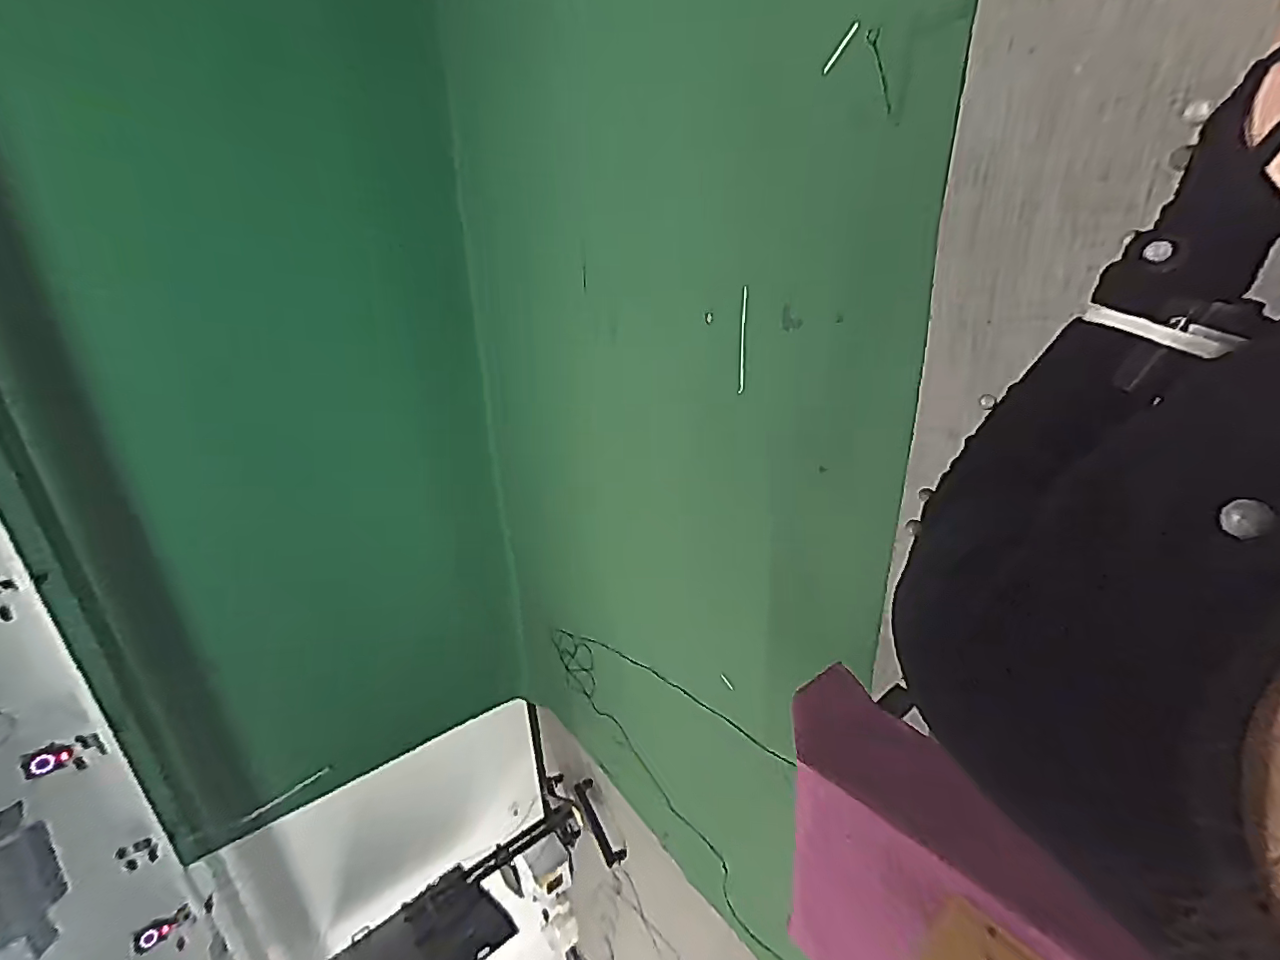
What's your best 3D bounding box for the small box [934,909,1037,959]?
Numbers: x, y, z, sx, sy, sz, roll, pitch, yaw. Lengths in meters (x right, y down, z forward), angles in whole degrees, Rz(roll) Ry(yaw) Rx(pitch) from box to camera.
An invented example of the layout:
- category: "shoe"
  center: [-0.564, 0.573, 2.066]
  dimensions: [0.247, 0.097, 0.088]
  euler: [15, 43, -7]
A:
- category: "small box"
  center: [0.564, 0.856, 0.868]
  dimensions: [0.168, 0.176, 0.179]
  euler: [21, 121, 49]
